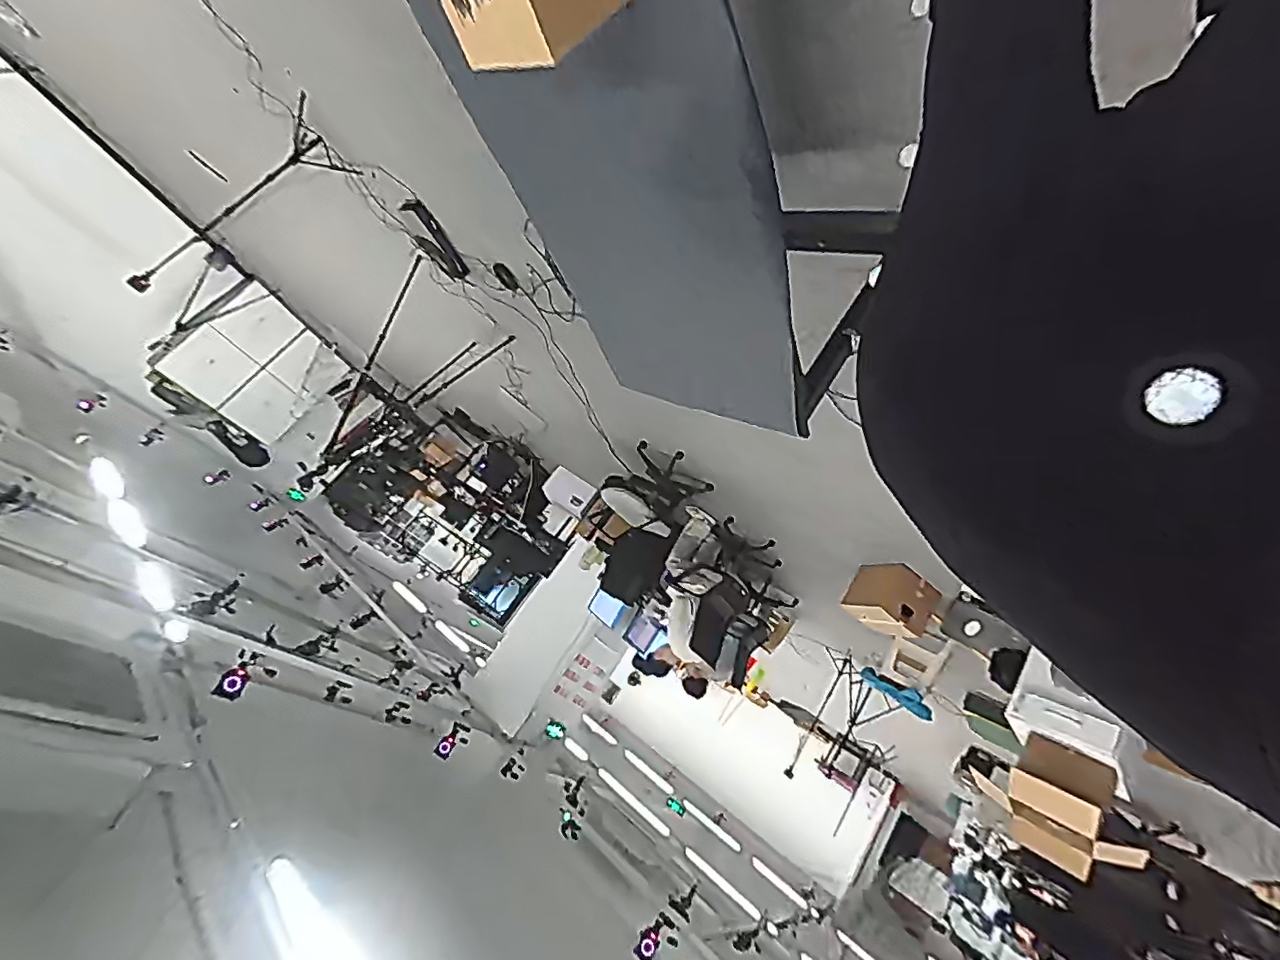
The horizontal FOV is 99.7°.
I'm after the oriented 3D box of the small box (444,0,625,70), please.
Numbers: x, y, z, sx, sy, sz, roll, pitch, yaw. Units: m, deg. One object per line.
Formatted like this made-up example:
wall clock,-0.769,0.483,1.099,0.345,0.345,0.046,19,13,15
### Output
small box,-0.139,-0.639,0.660,0.179,0.176,0.168,28,162,33
